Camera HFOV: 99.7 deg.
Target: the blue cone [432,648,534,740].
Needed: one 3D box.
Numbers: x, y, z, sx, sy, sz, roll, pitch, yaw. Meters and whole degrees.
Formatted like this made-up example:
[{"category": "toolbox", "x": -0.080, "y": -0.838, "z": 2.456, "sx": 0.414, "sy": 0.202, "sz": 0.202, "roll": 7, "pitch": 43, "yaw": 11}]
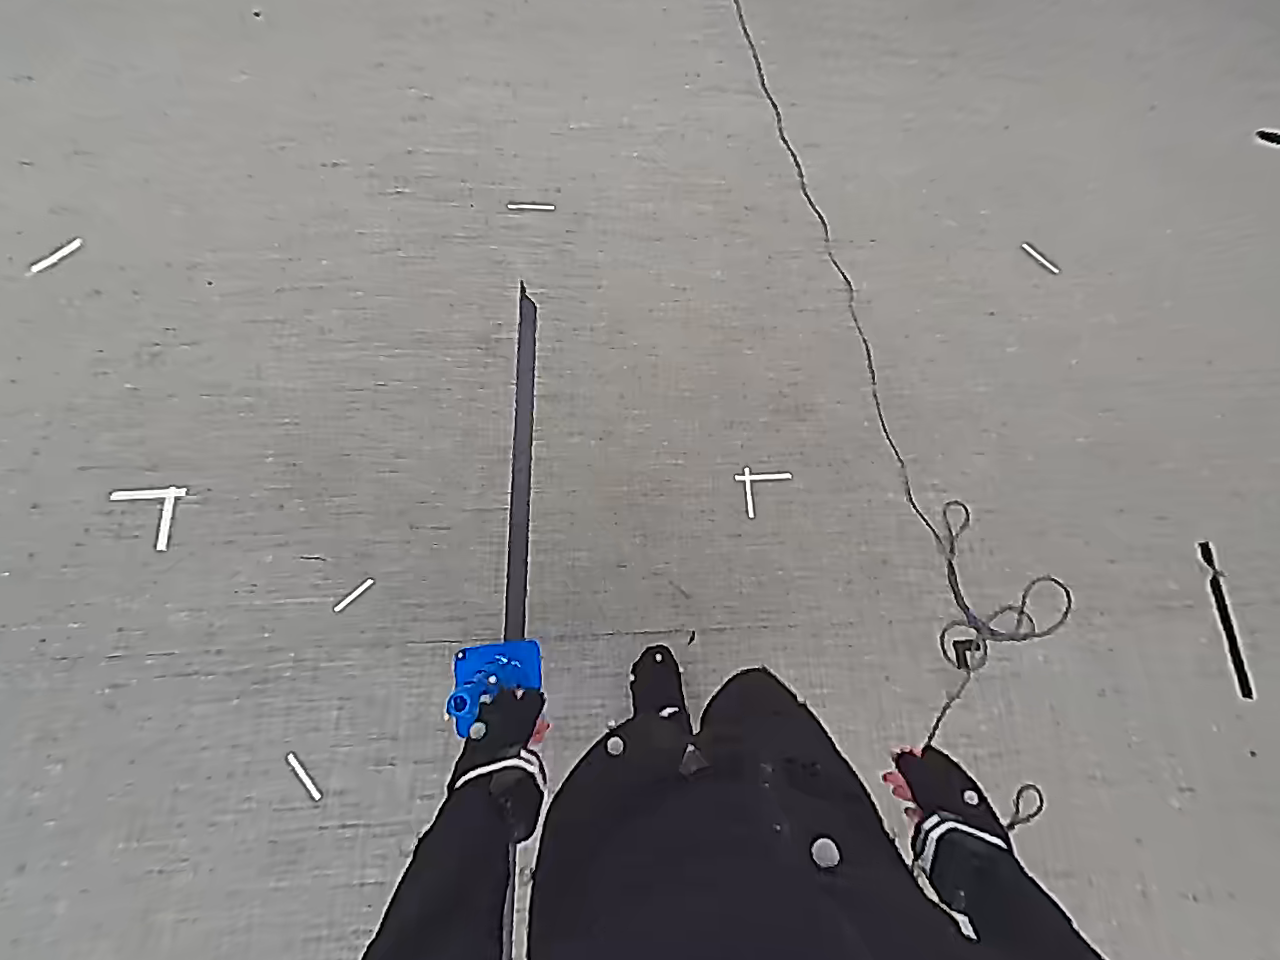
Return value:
[{"category": "blue cone", "x": -0.336, "y": 0.446, "z": 1.104, "sx": 0.192, "sy": 0.380, "sz": 0.193, "roll": -4, "pitch": 73, "yaw": -4}]
